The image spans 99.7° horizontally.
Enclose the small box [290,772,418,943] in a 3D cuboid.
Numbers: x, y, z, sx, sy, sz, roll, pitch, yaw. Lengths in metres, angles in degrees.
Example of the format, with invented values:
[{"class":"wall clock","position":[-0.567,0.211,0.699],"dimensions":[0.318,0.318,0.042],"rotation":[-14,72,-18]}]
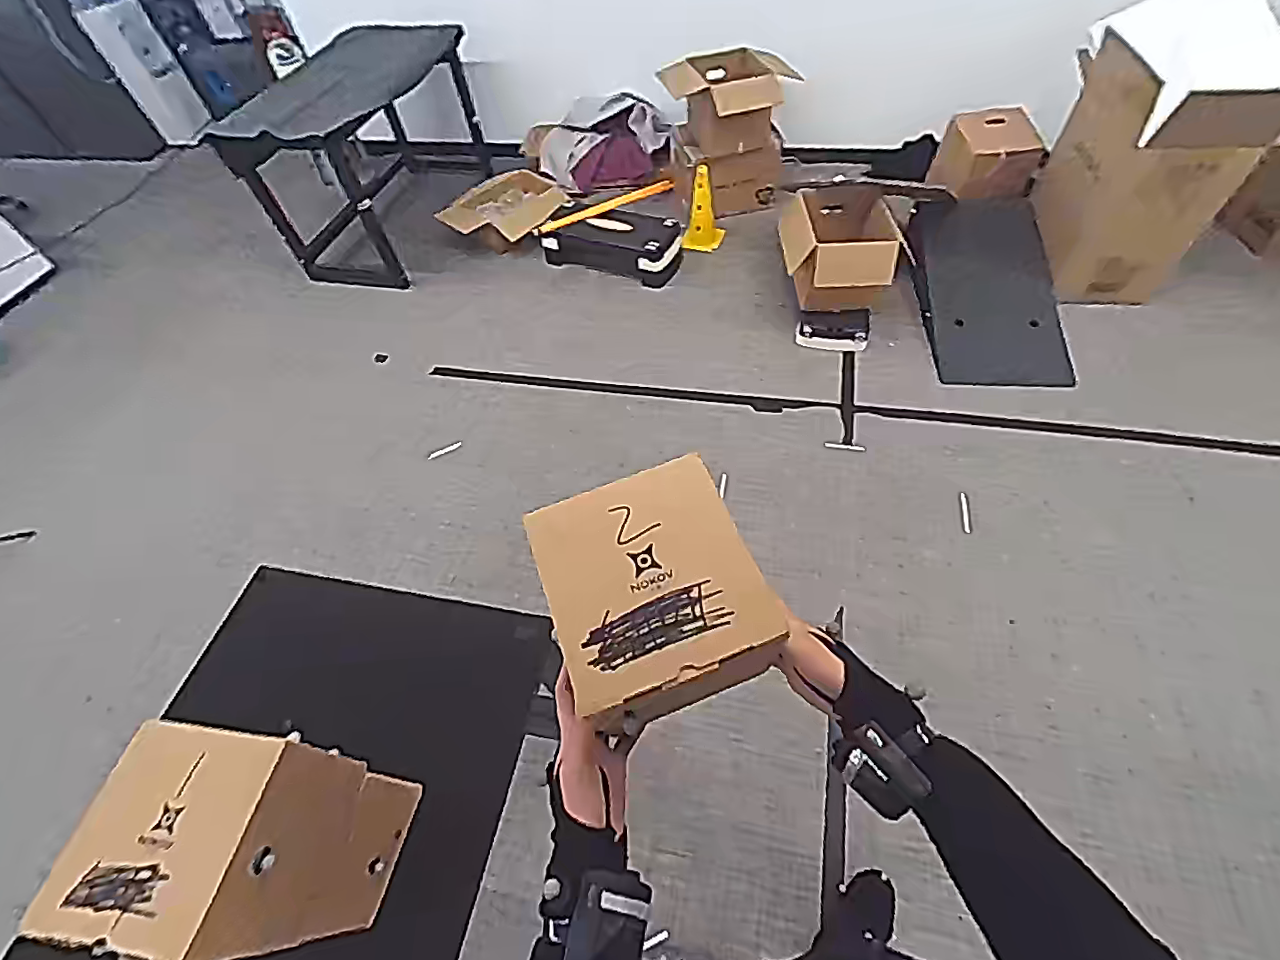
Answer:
[{"class":"small box","position":[-0.425,0.462,0.694],"dimensions":[0.179,0.176,0.168],"rotation":[7,56,10]}]

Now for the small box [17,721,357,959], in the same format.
[{"class":"small box","position":[-0.433,0.369,0.559],"dimensions":[0.168,0.176,0.179],"rotation":[4,55,8]}]
